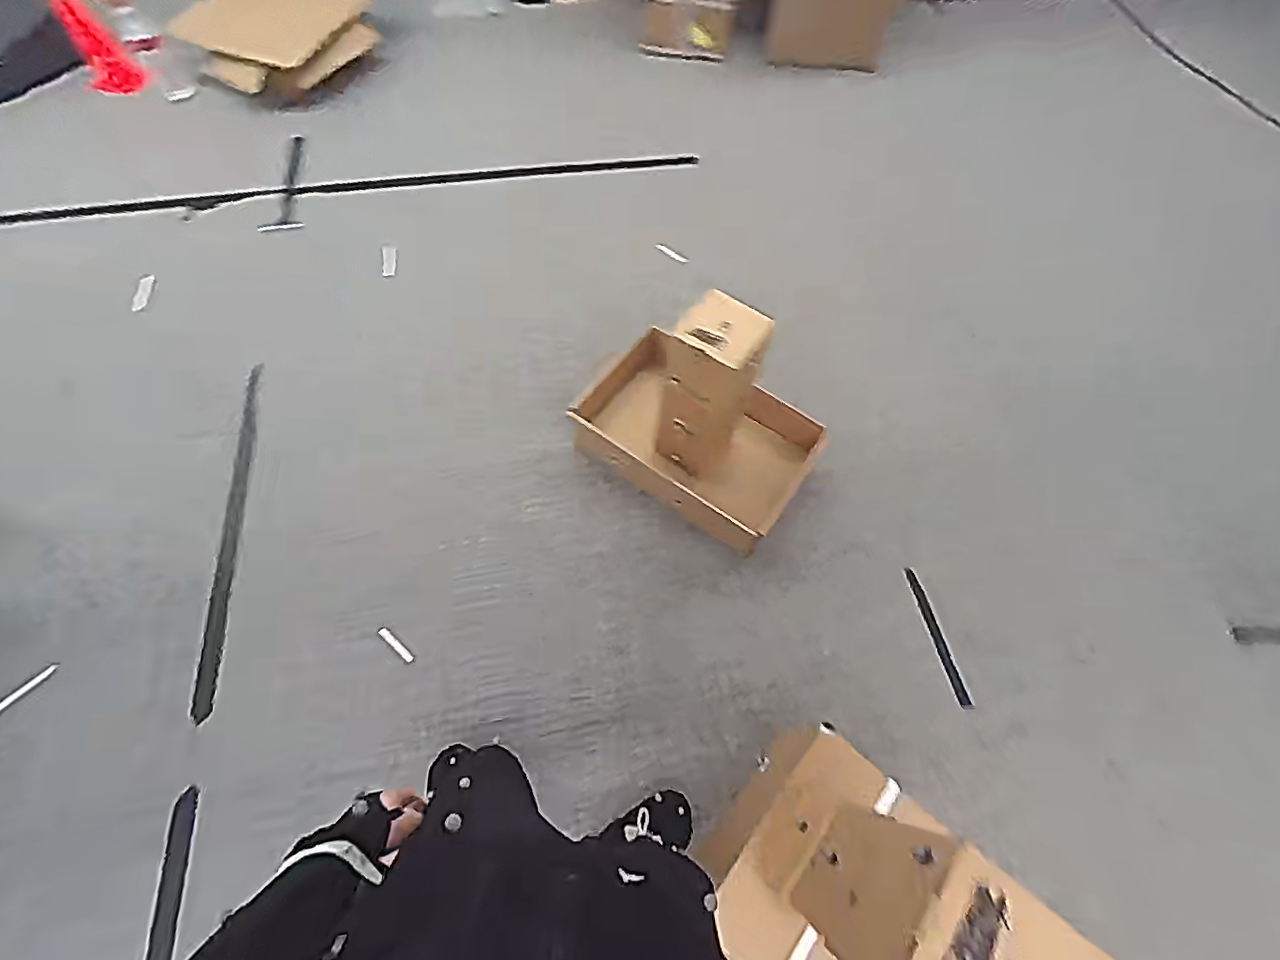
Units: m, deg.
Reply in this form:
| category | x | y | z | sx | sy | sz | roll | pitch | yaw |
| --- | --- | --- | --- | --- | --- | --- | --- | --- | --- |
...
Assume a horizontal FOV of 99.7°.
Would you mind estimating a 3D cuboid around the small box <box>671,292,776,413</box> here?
| category | x | y | z | sx | sy | sz | roll | pitch | yaw |
| --- | --- | --- | --- | --- | --- | --- | --- | --- | --- |
| small box | 0.183 | -0.287 | 1.242 | 0.168 | 0.176 | 0.179 | 35 | 66 | 14 |

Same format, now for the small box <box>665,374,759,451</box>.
| category | x | y | z | sx | sy | sz | roll | pitch | yaw |
| --- | --- | --- | --- | --- | --- | --- | --- | --- | --- |
| small box | 0.174 | -0.209 | 1.387 | 0.168 | 0.176 | 0.179 | 35 | 68 | 15 |

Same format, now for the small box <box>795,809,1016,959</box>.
| category | x | y | z | sx | sy | sz | roll | pitch | yaw |
| --- | --- | --- | --- | --- | --- | --- | --- | --- | --- |
| small box | 0.335 | 0.571 | 0.719 | 0.179 | 0.176 | 0.168 | 39 | 69 | 15 |

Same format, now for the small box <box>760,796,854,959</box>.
| category | x | y | z | sx | sy | sz | roll | pitch | yaw |
| --- | --- | --- | --- | --- | --- | --- | --- | --- | --- |
| small box | 0.320 | 0.639 | 0.868 | 0.179 | 0.176 | 0.168 | 39 | 69 | 15 |

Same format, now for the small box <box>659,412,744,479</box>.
| category | x | y | z | sx | sy | sz | roll | pitch | yaw |
| --- | --- | --- | --- | --- | --- | --- | --- | --- | --- |
| small box | 0.166 | -0.137 | 1.532 | 0.168 | 0.176 | 0.179 | 37 | 68 | 15 |
